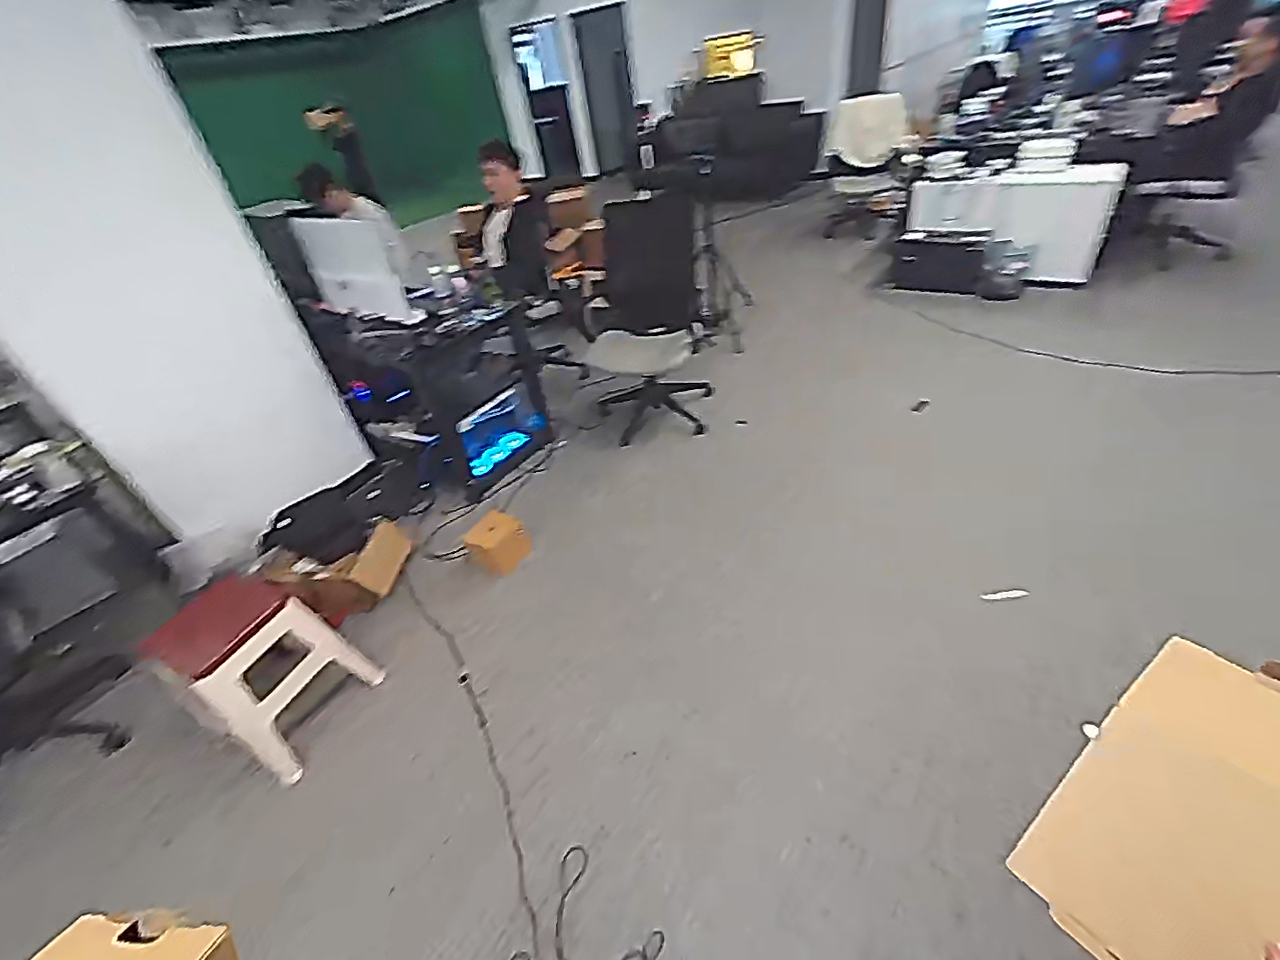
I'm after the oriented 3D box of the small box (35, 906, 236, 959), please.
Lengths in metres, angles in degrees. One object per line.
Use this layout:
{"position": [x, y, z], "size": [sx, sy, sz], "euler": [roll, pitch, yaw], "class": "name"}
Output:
{"position": [-0.458, 0.513, 0.450], "size": [0.168, 0.176, 0.179], "euler": [-2, 11, 9], "class": "small box"}
